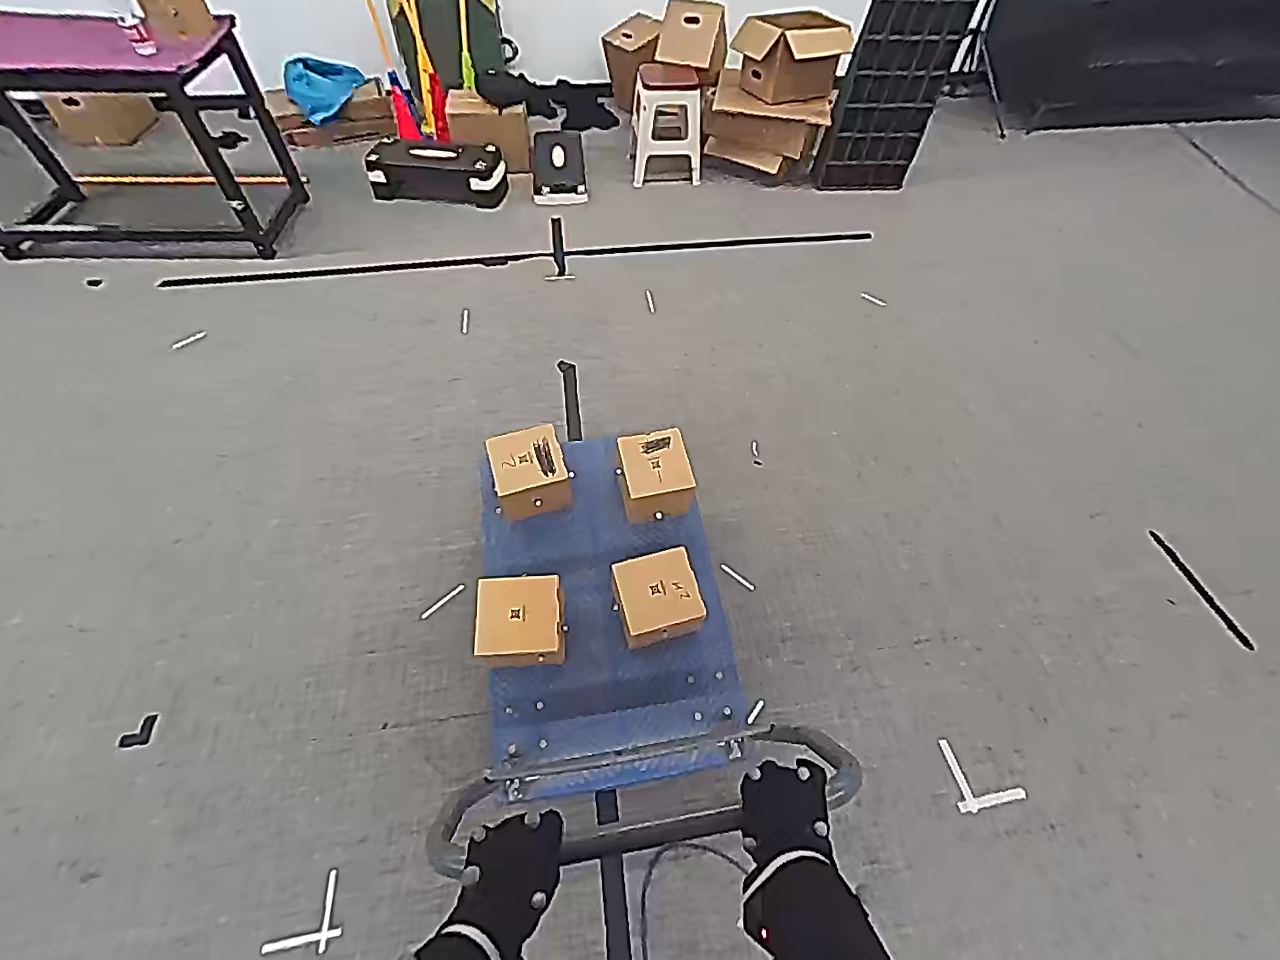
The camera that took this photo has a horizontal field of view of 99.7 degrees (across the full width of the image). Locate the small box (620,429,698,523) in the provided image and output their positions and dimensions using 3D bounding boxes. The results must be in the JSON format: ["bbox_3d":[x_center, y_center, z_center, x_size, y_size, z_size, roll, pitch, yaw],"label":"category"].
[{"bbox_3d":[0.042,-0.008,1.411,0.168,0.176,0.179,-10,65,-8],"label":"small box"}]

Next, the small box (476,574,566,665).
[{"bbox_3d":[-0.262,0.321,1.228,0.179,0.176,0.168,-2,63,-5],"label":"small box"}]

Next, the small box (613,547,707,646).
[{"bbox_3d":[0.041,0.278,1.264,0.179,0.176,0.168,-13,64,-9],"label":"small box"}]
